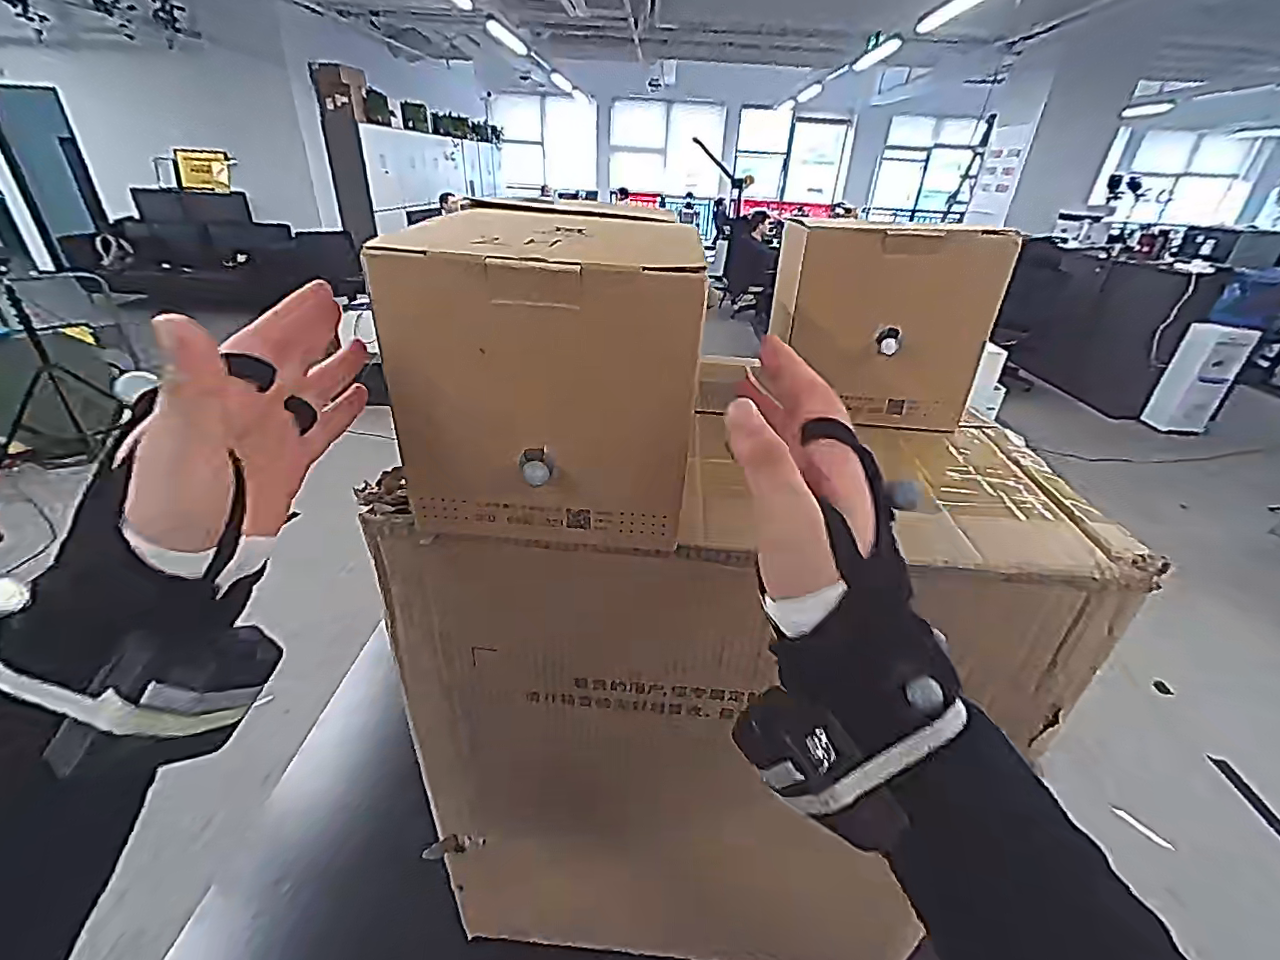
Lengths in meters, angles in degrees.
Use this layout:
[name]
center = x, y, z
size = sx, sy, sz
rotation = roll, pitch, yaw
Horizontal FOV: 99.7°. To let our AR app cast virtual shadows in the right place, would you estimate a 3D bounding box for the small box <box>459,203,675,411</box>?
[small box]
center = -0.059, -0.176, 0.537
size = 0.179, 0.176, 0.168
rotation = 5, 29, 1
